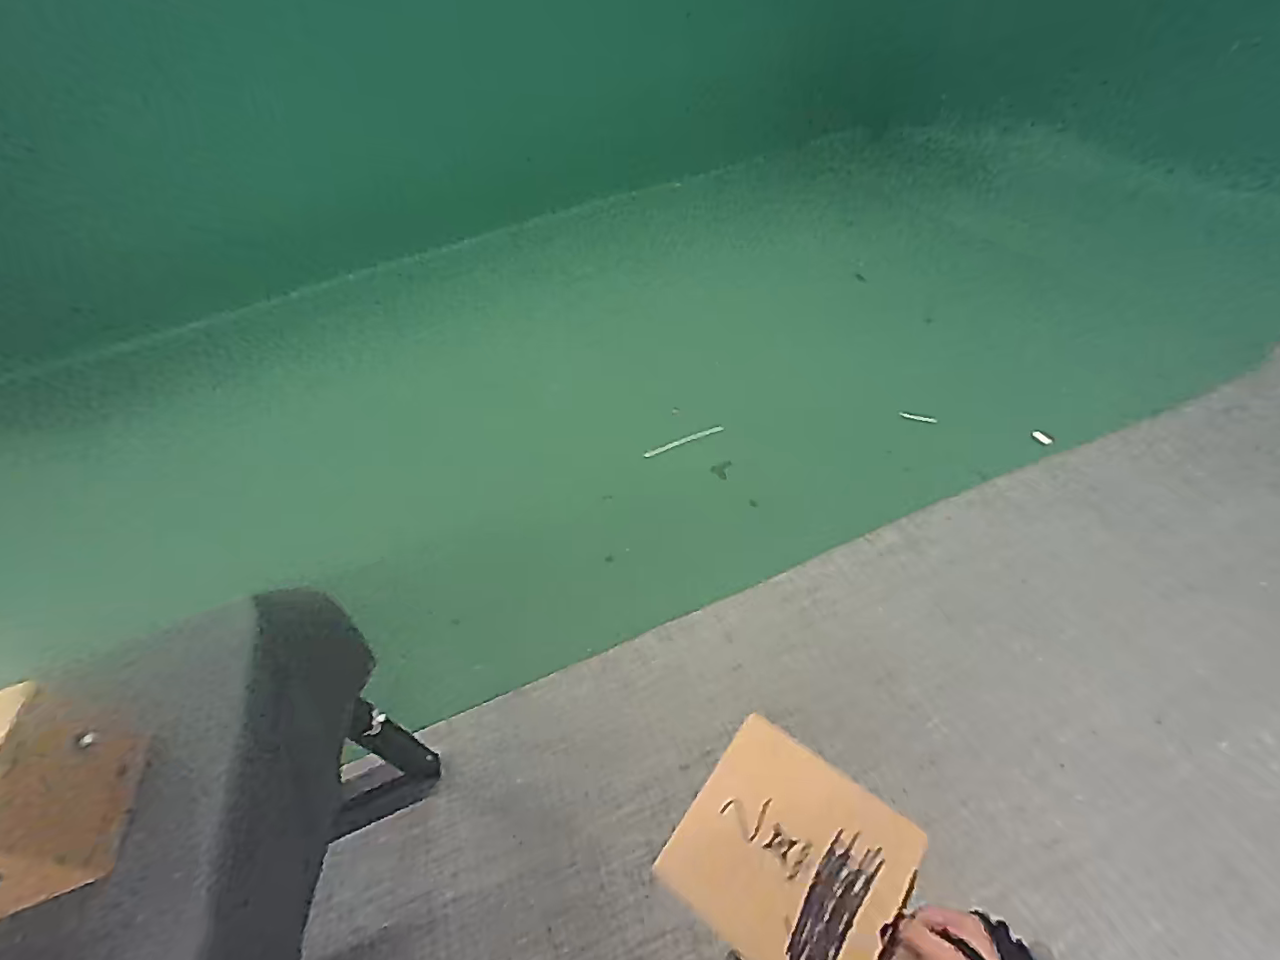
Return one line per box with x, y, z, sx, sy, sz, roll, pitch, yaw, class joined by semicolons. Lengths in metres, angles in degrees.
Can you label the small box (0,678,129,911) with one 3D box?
-0.703;0.343;0.562;0.179;0.176;0.168;-21;45;-7;small box
